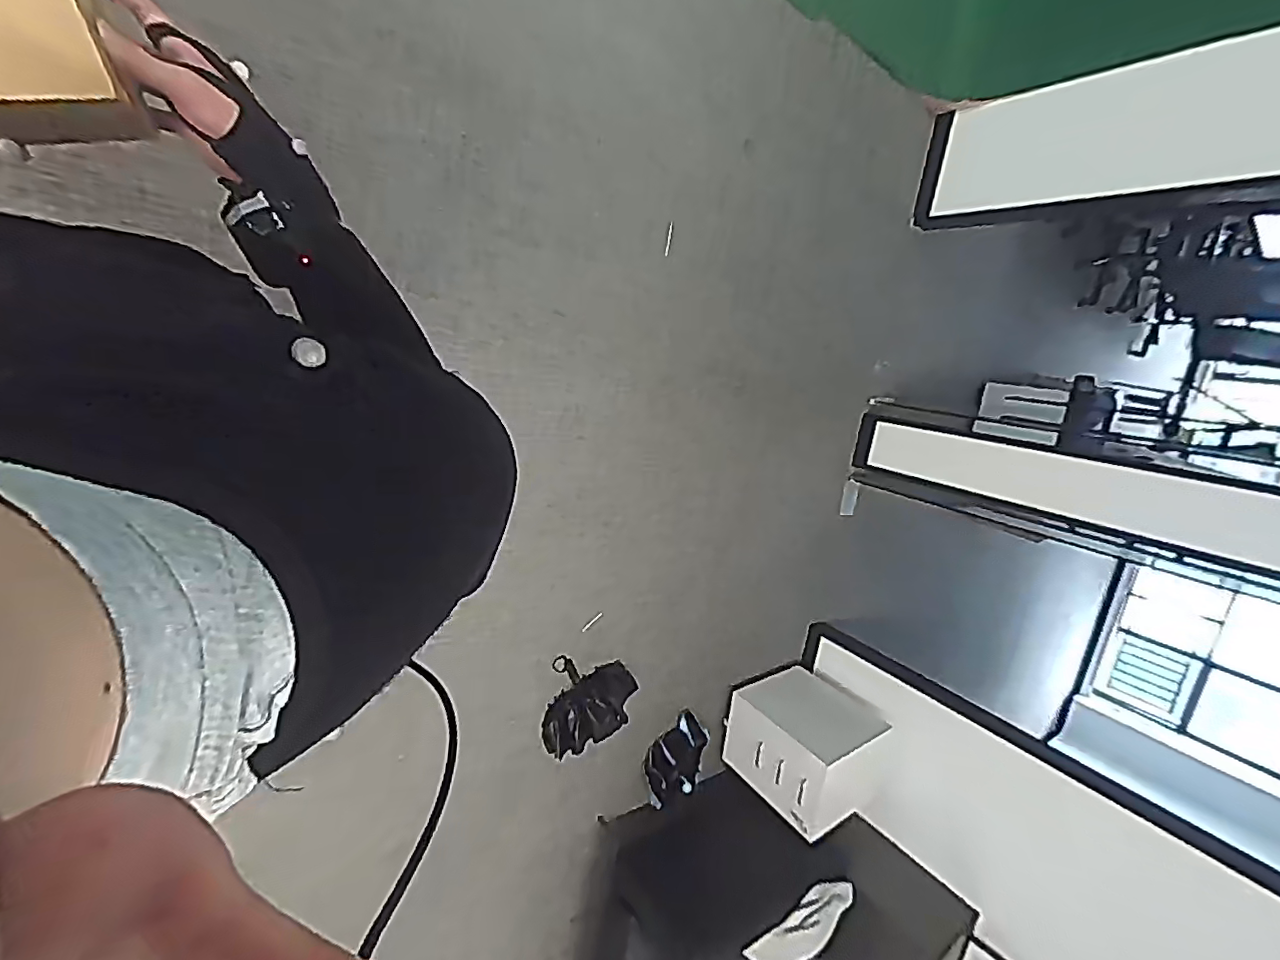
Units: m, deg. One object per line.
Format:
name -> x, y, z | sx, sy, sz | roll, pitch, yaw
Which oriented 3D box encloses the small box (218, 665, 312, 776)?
small box -> -0.970, 0.609, 1.401 | 0.168, 0.176, 0.179 | -15, 115, -31
